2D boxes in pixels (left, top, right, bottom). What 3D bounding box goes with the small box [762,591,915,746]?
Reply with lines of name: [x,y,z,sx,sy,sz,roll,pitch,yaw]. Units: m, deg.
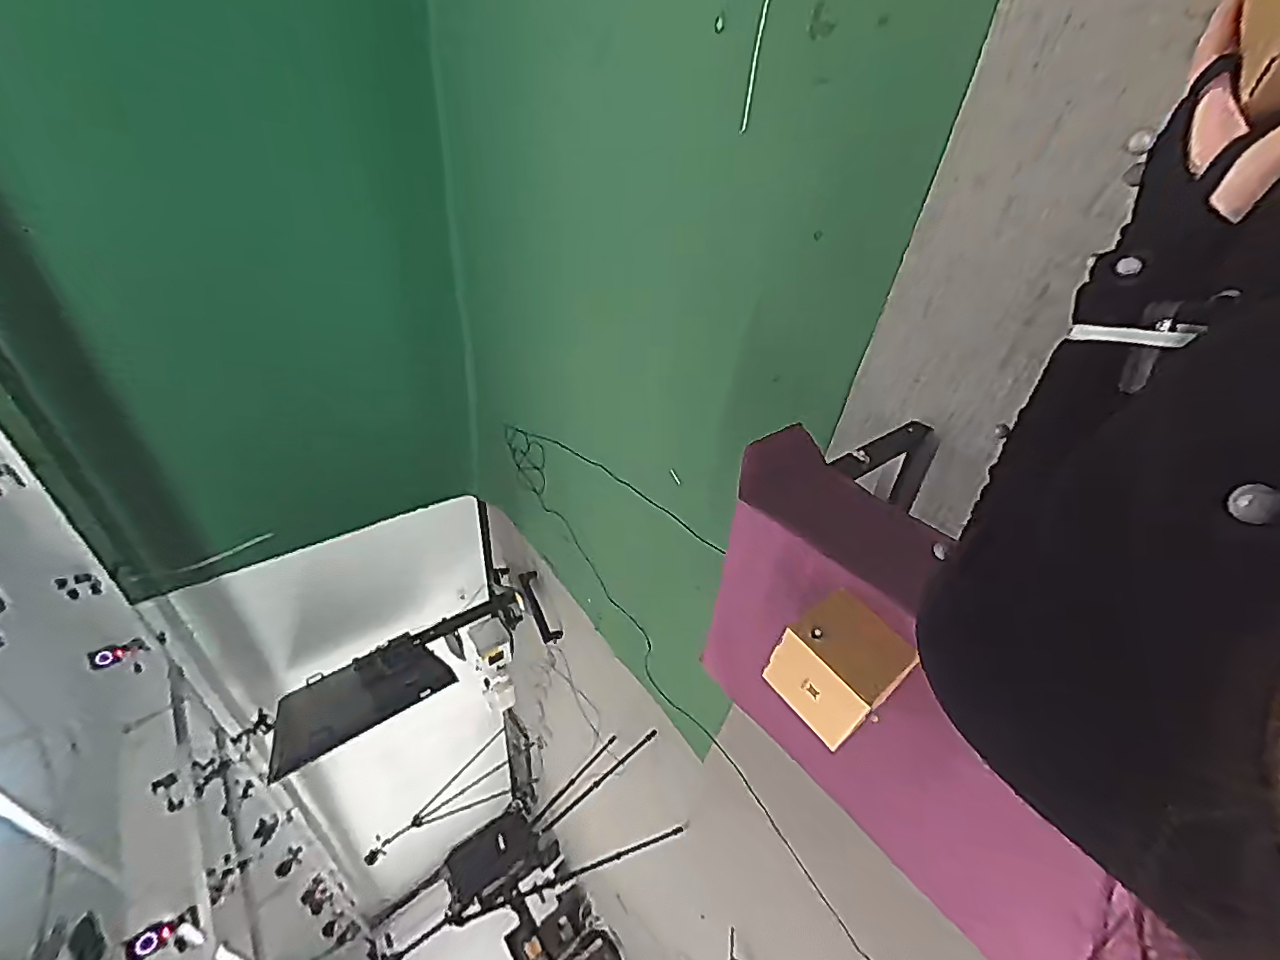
small box: [0.361,0.337,0.991,0.179,0.176,0.168,44,141,34]
